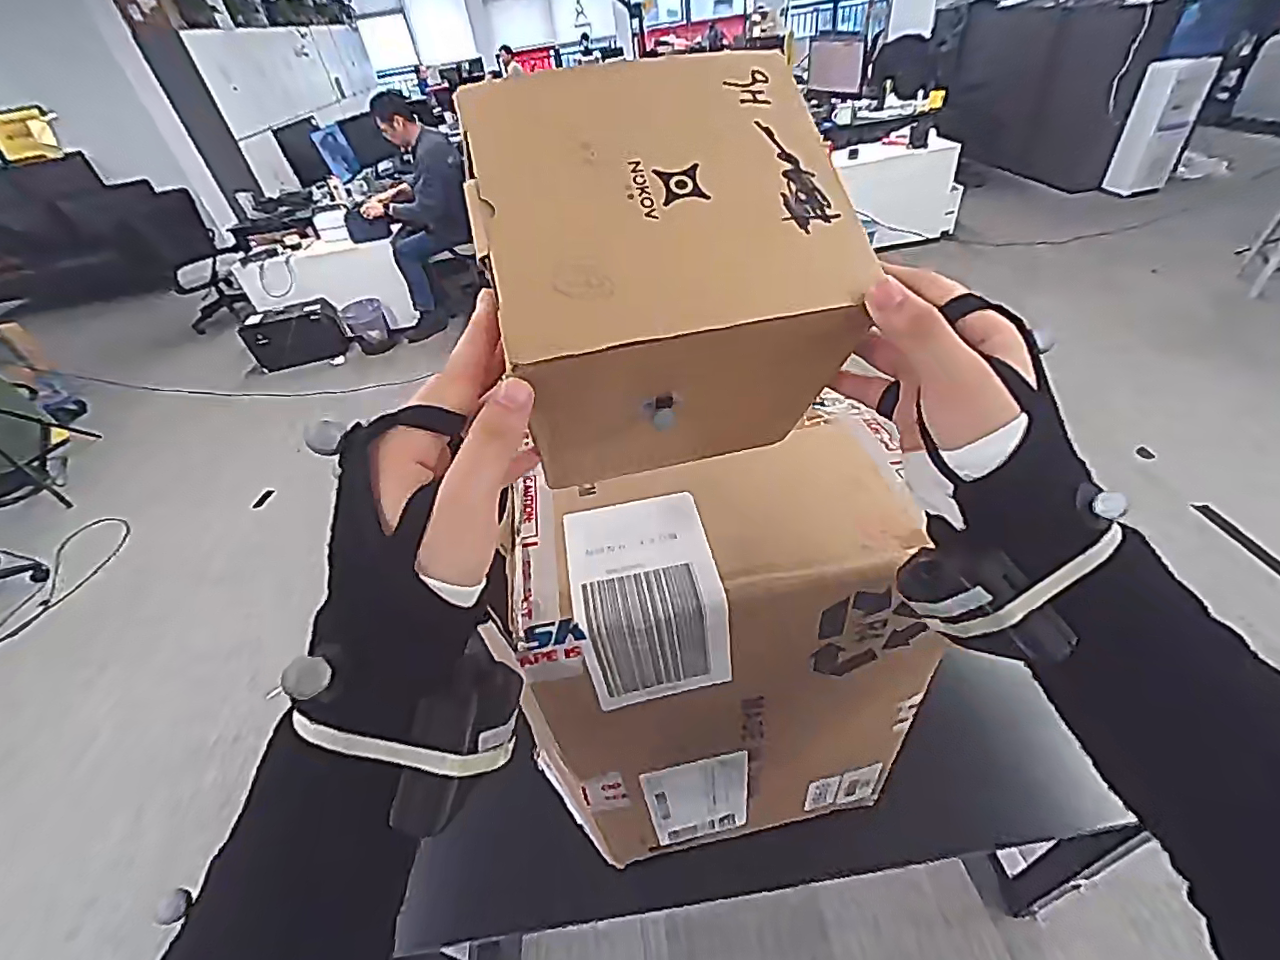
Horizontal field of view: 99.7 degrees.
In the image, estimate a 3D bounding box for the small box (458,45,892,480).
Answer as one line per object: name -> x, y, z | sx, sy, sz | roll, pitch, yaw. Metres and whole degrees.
small box -> 0.008, -0.112, 0.329 | 0.179, 0.176, 0.168 | -12, 72, -7
